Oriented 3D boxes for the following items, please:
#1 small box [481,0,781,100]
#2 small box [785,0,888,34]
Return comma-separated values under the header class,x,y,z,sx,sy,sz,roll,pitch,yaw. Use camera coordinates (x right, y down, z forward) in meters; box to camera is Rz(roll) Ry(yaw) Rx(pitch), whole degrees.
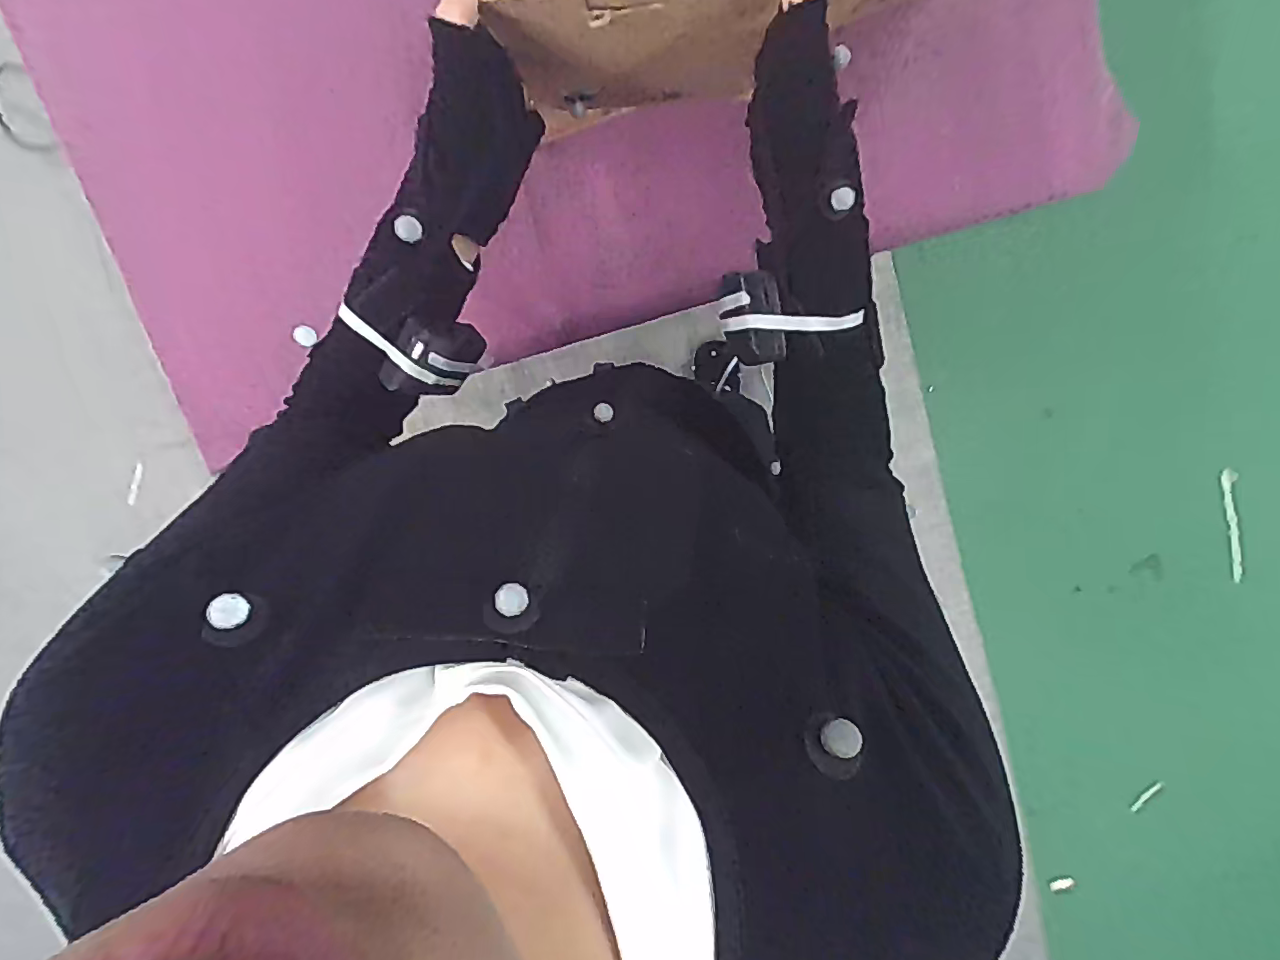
class,x,y,z,sx,sy,sz,roll,pitch,yaw
small box,0.003,-0.351,0.323,0.168,0.176,0.179,0,107,4
small box,0.215,-0.583,0.503,0.168,0.176,0.179,-19,101,9
